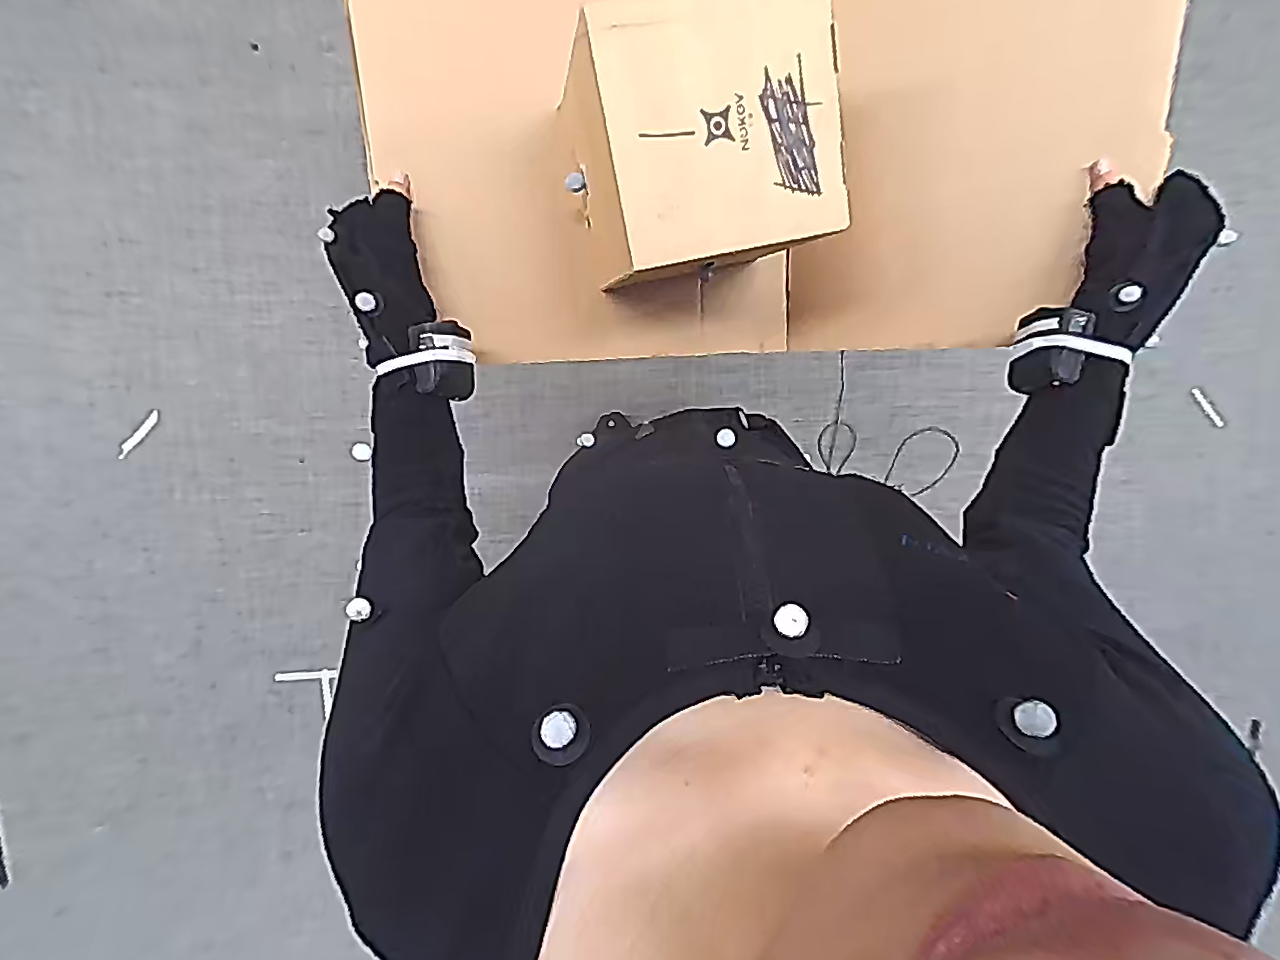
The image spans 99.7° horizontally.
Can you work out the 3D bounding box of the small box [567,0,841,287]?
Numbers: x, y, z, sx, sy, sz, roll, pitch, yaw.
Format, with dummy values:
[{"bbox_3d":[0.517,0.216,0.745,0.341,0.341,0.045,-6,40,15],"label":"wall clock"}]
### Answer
[{"bbox_3d":[0.044,-0.270,0.465,0.179,0.176,0.168,-14,107,-9],"label":"small box"}]
